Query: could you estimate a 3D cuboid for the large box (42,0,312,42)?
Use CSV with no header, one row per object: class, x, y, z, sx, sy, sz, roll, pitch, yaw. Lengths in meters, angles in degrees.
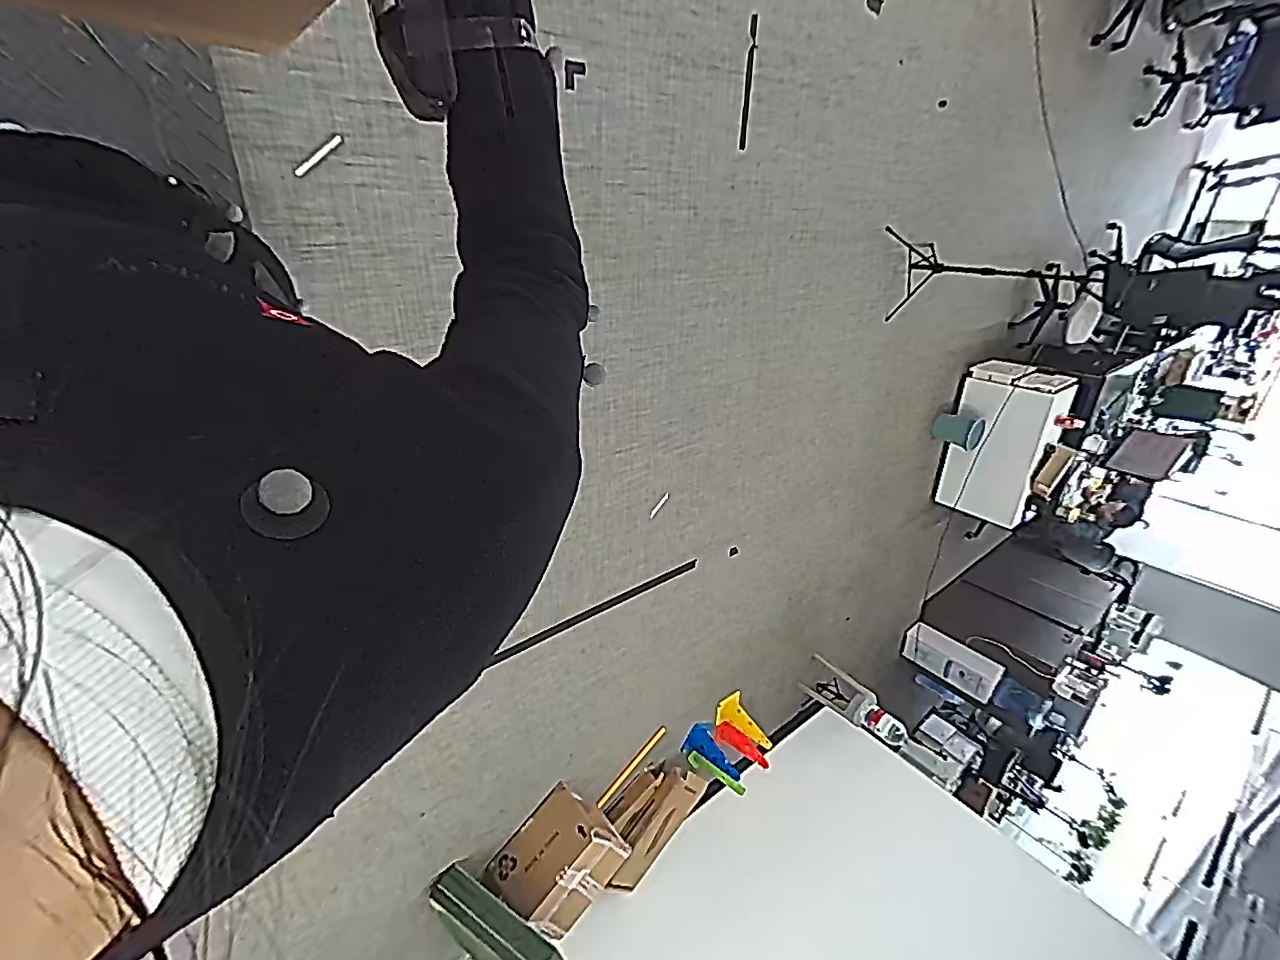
large box,-0.374,-0.414,0.194,0.408,0.320,0.320,-17,125,-36
